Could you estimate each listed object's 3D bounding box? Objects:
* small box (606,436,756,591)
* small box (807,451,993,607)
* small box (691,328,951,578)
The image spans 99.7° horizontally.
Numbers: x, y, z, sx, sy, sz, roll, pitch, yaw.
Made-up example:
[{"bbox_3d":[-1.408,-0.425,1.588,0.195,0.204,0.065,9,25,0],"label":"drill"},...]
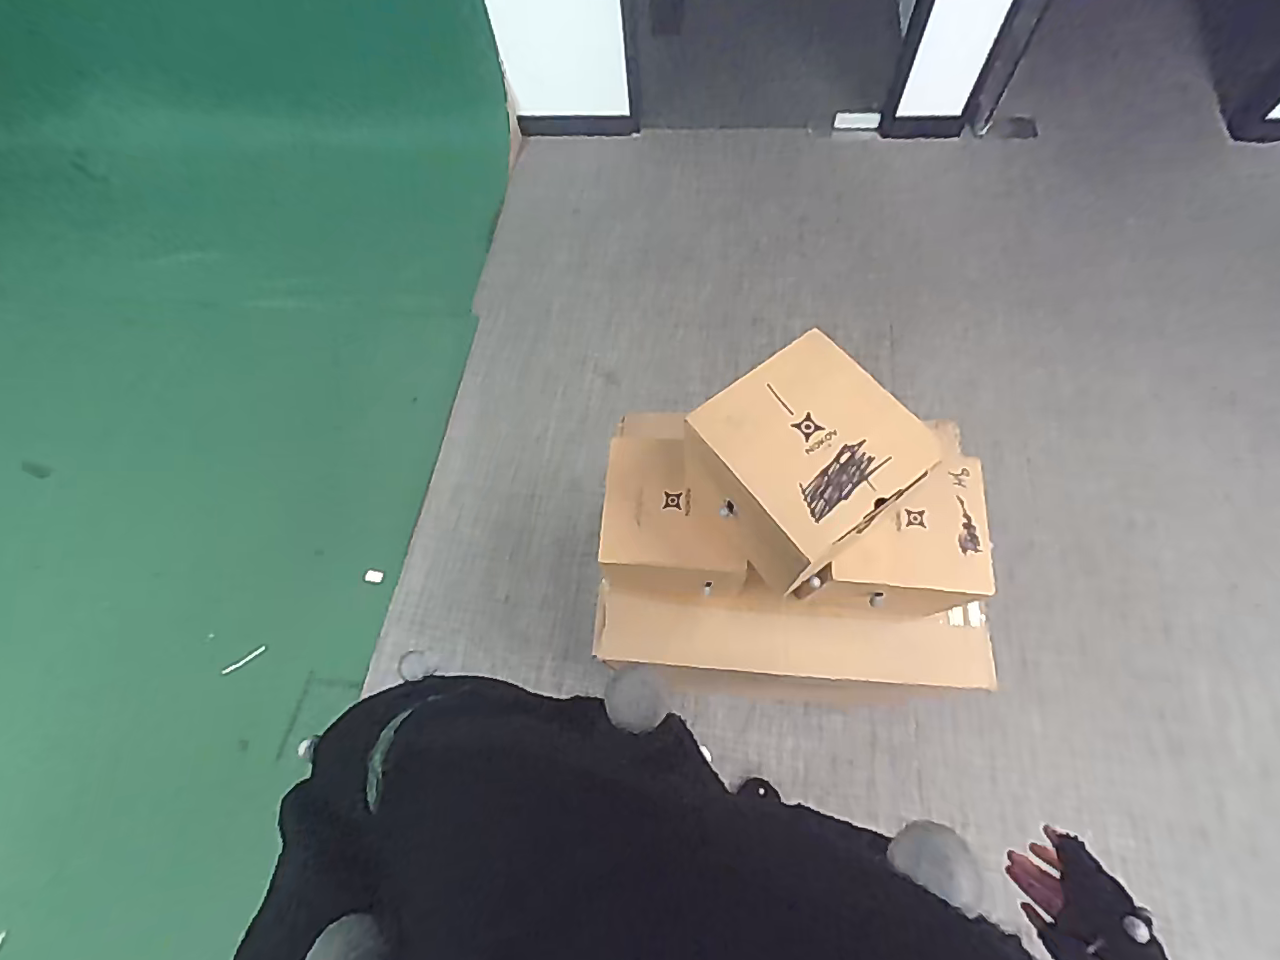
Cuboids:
[{"bbox_3d":[0.058,0.052,0.730,0.179,0.176,0.168,1,68,7],"label":"small box"},{"bbox_3d":[0.317,0.066,0.701,0.179,0.176,0.168,4,70,8],"label":"small box"},{"bbox_3d":[0.170,-0.014,0.569,0.168,0.176,0.179,-35,68,-9],"label":"small box"}]
